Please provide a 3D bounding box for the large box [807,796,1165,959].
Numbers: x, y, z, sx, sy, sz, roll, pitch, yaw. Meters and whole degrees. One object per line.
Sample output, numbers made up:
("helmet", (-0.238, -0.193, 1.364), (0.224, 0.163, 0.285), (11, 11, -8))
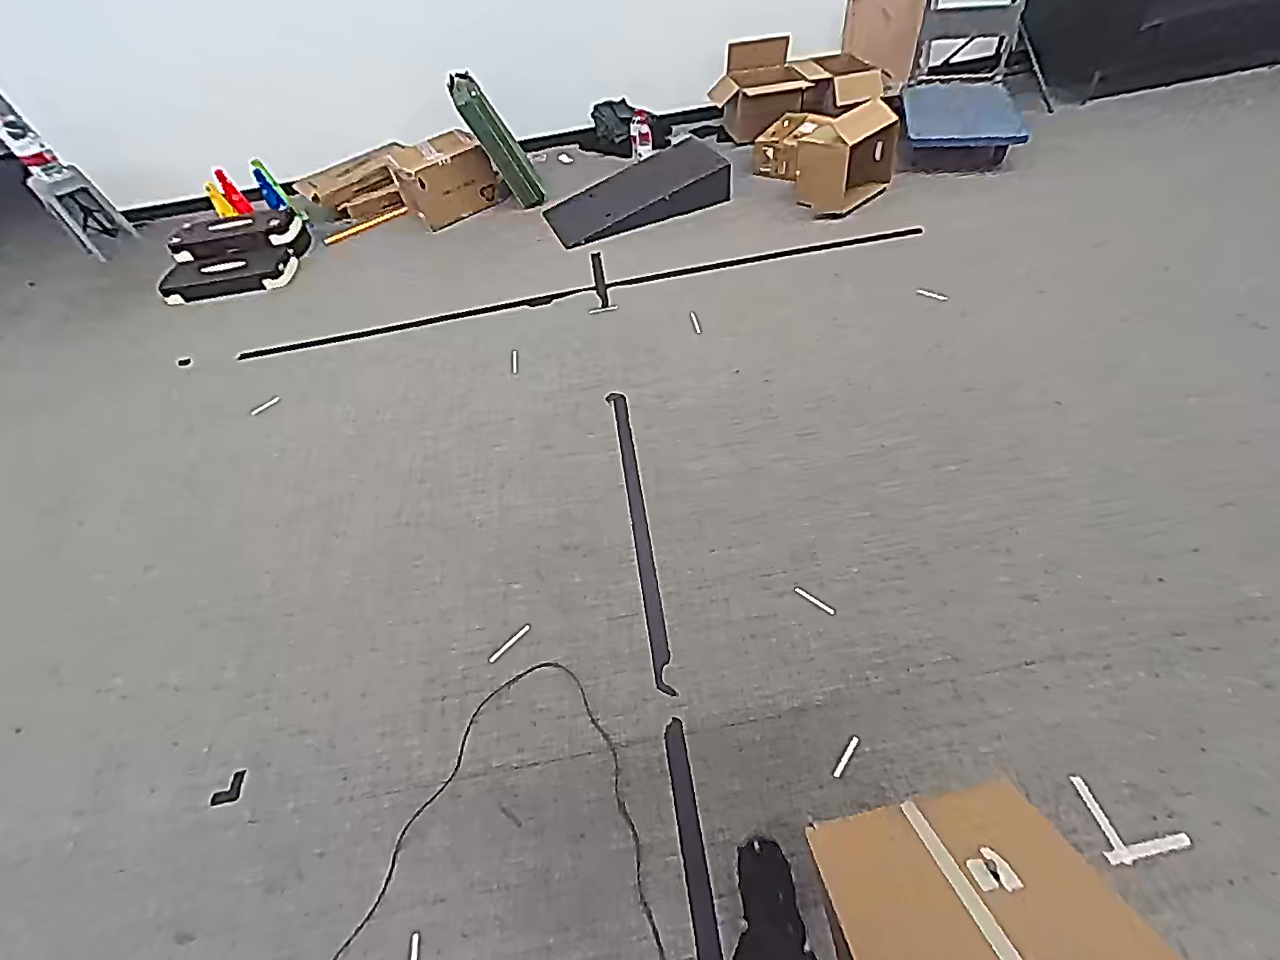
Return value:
("large box", (0.441, 0.679, 0.639), (0.320, 0.408, 0.320), (-13, 96, 1))
